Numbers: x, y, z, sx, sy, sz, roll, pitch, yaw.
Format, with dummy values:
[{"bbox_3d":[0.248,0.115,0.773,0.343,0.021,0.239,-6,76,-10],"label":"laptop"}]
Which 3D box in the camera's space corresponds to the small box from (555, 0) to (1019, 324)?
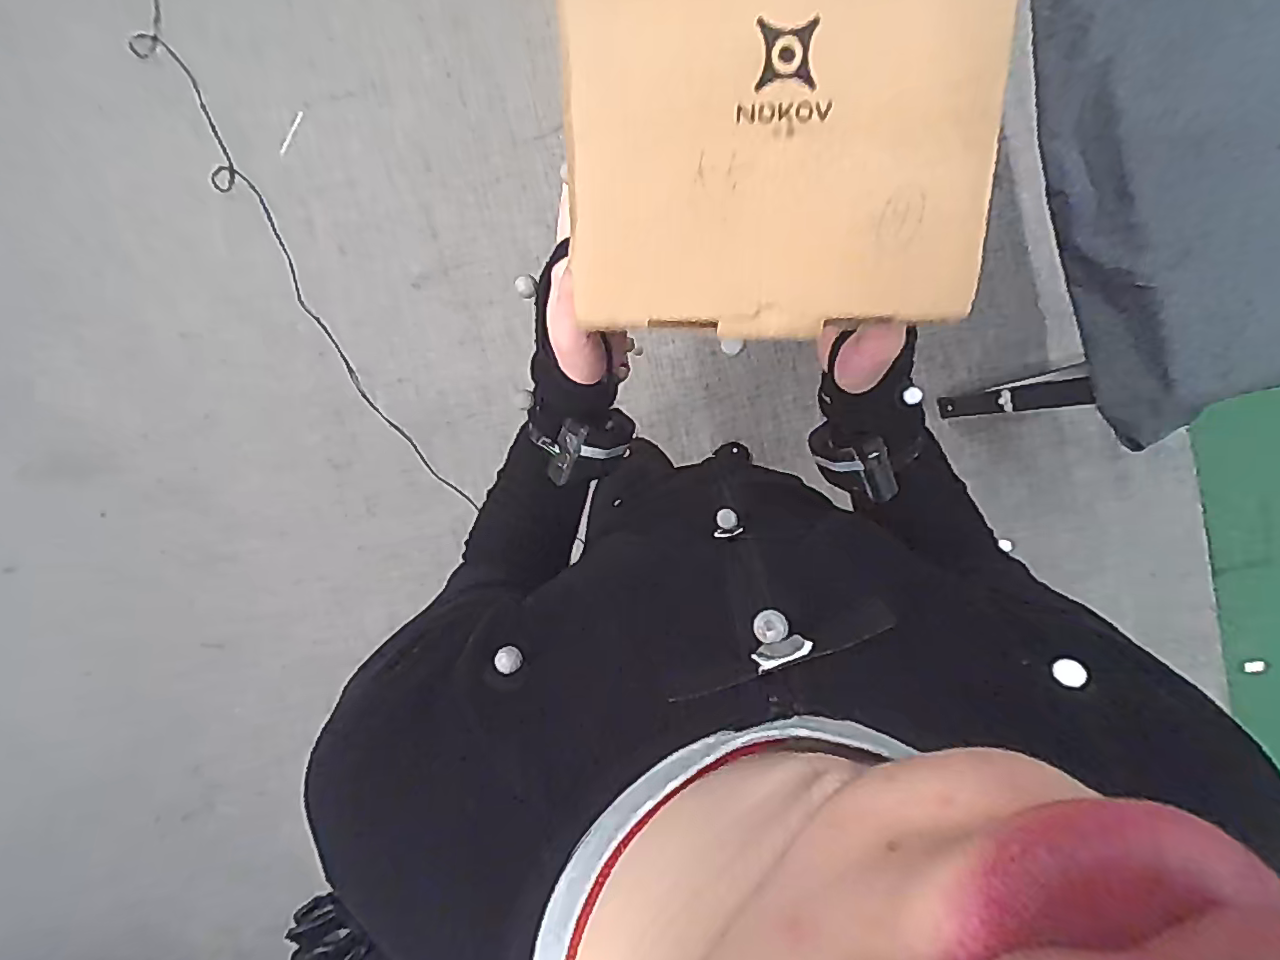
[{"bbox_3d":[0.049,-0.172,0.273,0.168,0.176,0.179,-2,106,-2],"label":"small box"}]
